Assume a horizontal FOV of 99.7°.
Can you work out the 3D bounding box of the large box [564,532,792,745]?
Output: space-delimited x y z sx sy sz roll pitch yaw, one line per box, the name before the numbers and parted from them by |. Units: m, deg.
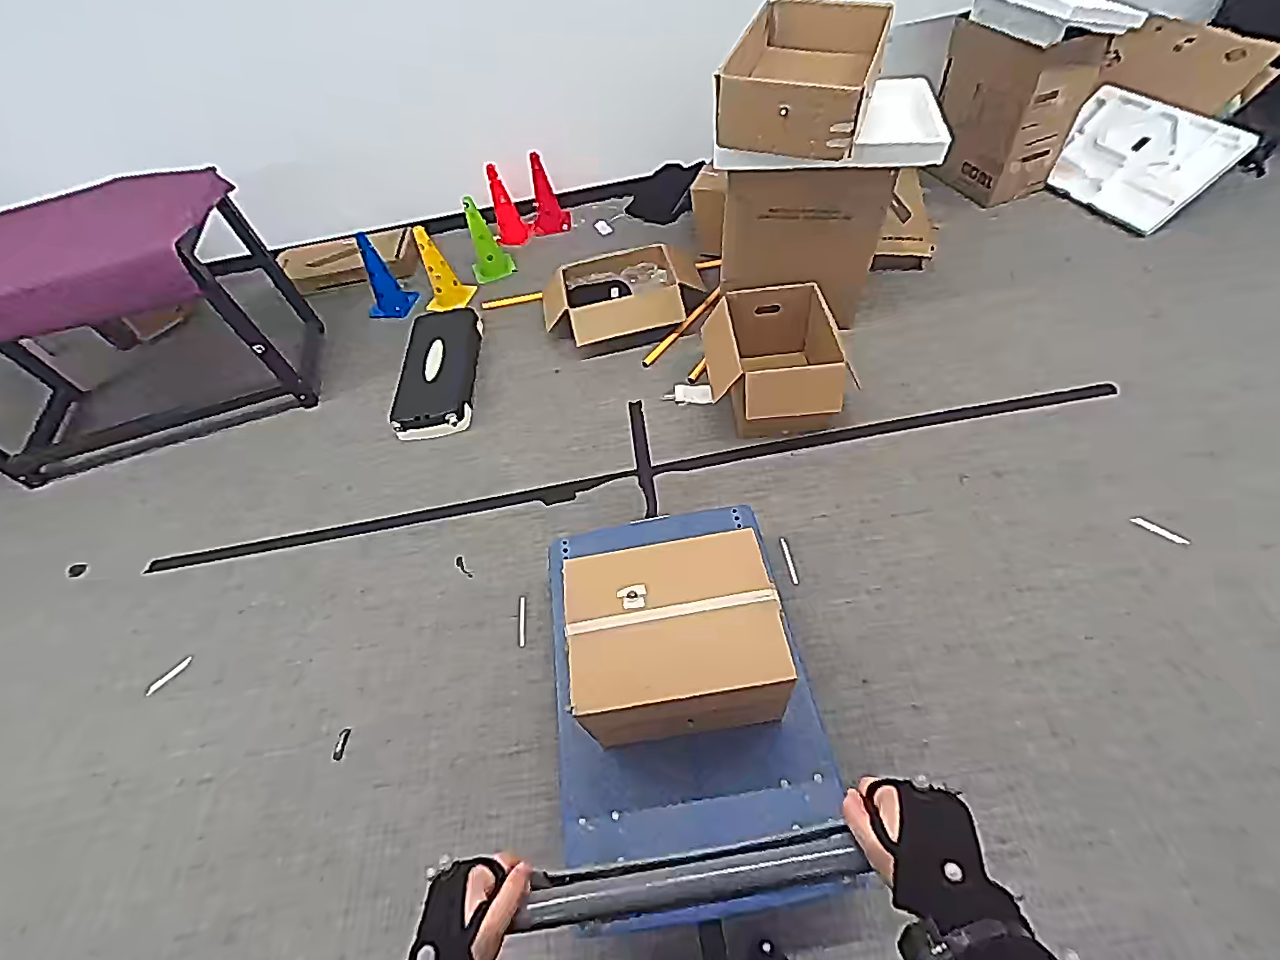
large box | 0.077 0.352 1.170 0.408 0.320 0.320 -11 53 2
